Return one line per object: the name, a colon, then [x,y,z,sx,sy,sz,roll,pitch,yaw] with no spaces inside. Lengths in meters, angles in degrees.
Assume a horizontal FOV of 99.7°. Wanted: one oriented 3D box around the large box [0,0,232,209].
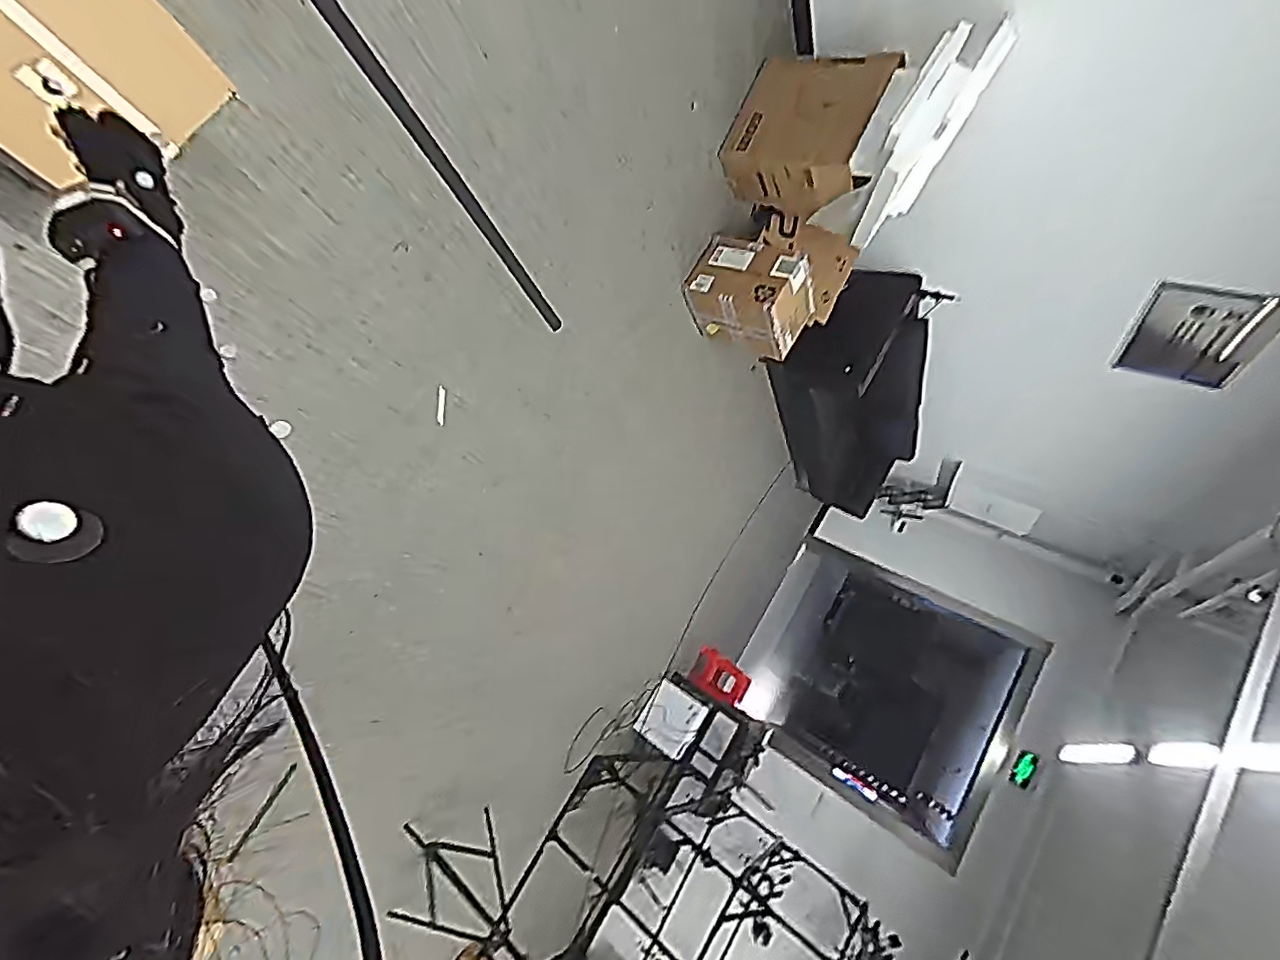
large box: [-0.936,-0.677,0.769,0.320,0.320,0.408,-56,150,-12]
